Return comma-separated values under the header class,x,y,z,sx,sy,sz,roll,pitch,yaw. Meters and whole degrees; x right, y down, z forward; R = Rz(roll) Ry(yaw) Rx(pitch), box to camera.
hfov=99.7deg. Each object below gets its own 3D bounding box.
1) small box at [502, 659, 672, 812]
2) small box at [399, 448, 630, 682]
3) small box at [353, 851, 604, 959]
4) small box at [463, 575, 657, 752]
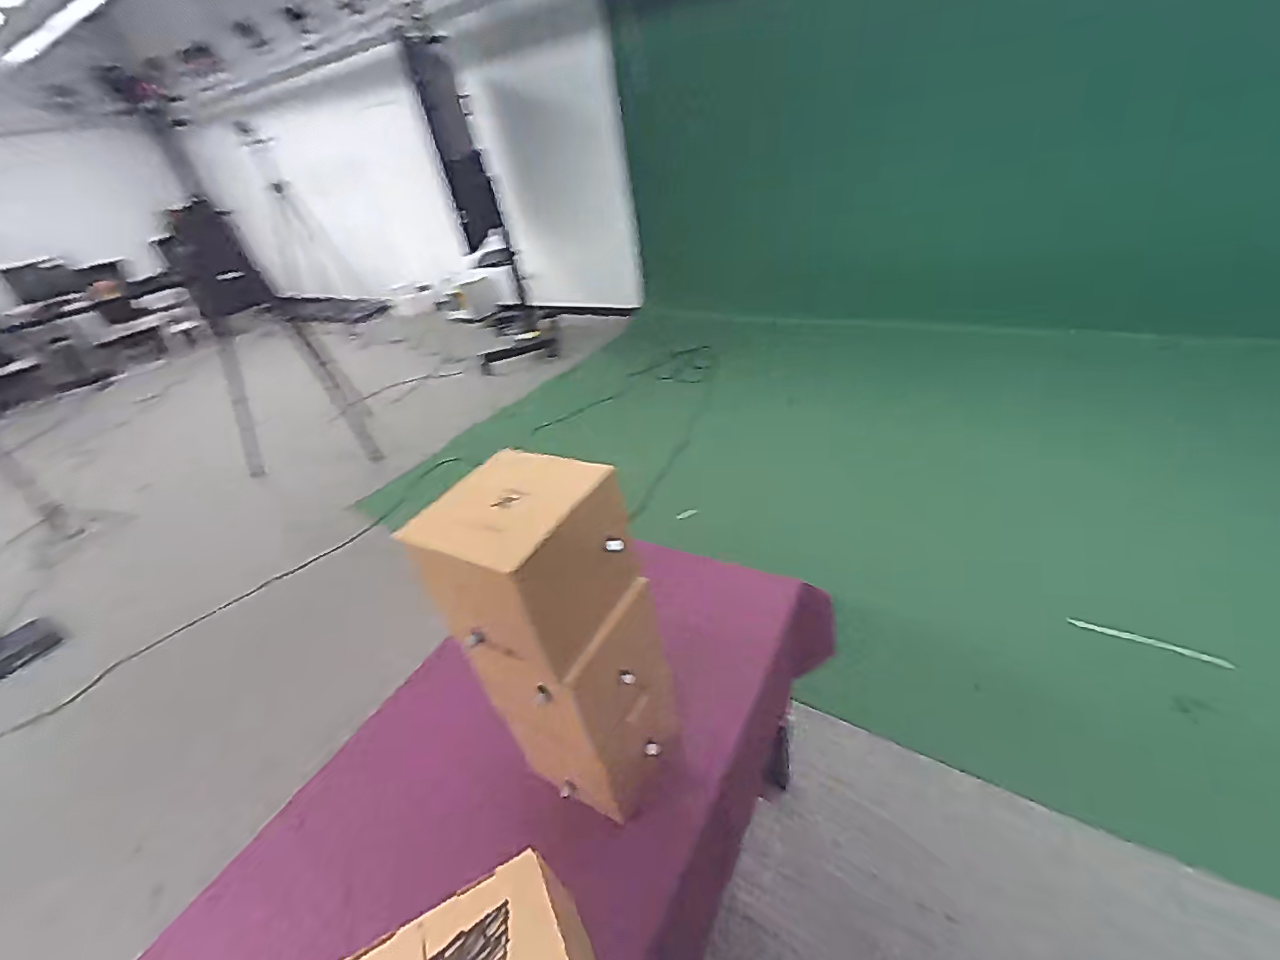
class,x,y,z,sx,sy,sz,roll,pitch,yaw
small box,-0.067,0.352,0.801,0.179,0.176,0.168,12,40,29
small box,-0.125,0.088,0.614,0.168,0.176,0.179,10,41,30
small box,-0.097,0.415,0.377,0.168,0.176,0.179,-23,43,-16
small box,-0.094,0.219,0.705,0.179,0.176,0.168,11,40,29
